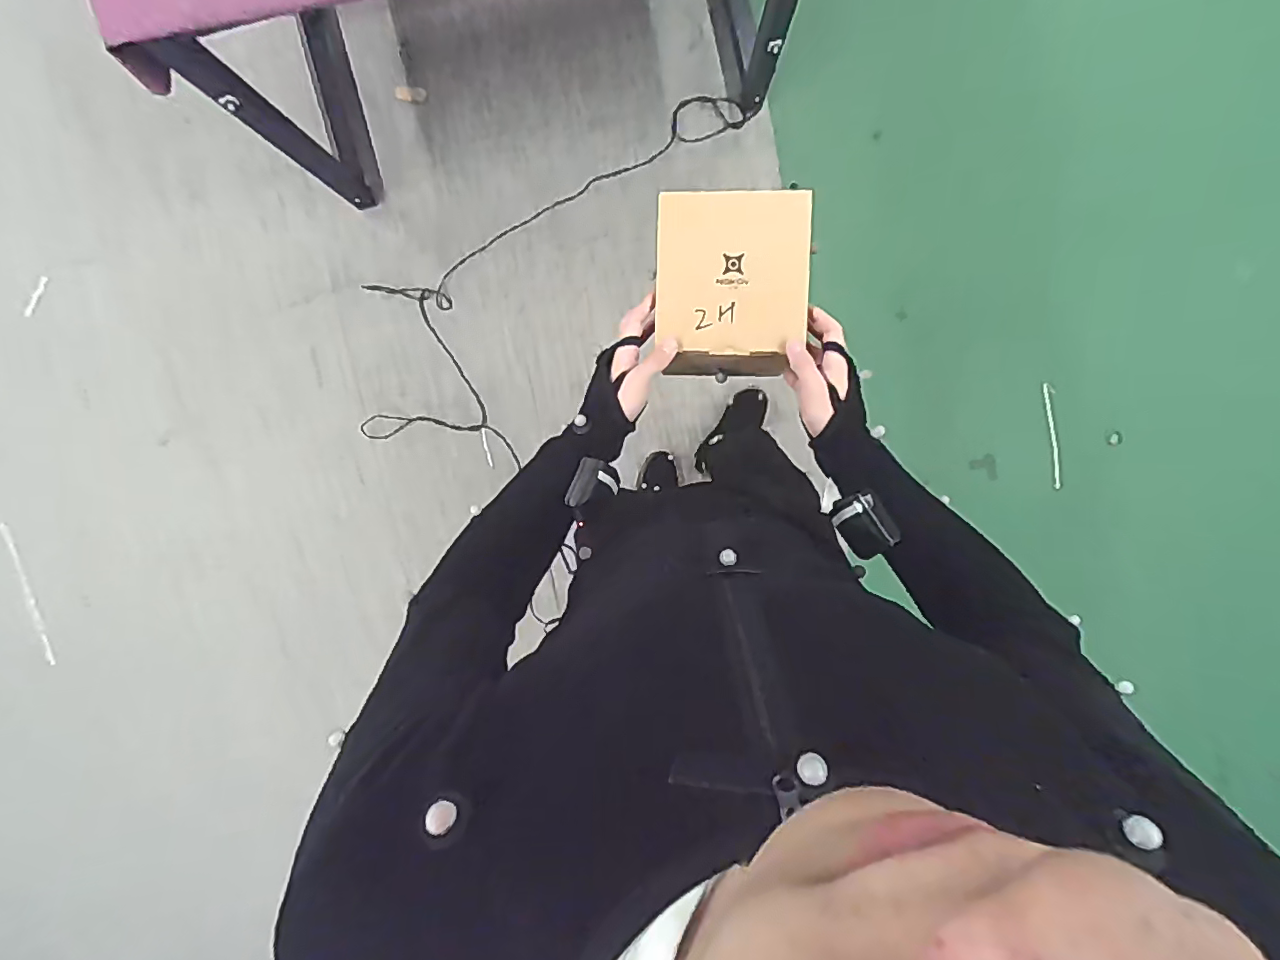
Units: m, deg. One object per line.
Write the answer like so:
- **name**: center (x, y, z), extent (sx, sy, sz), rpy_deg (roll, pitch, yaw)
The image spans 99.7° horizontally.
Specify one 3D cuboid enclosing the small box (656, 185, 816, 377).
- **small box**: center (0.107, -0.229, 0.655), extent (0.168, 0.176, 0.179), rpy_deg (2, 92, 5)
